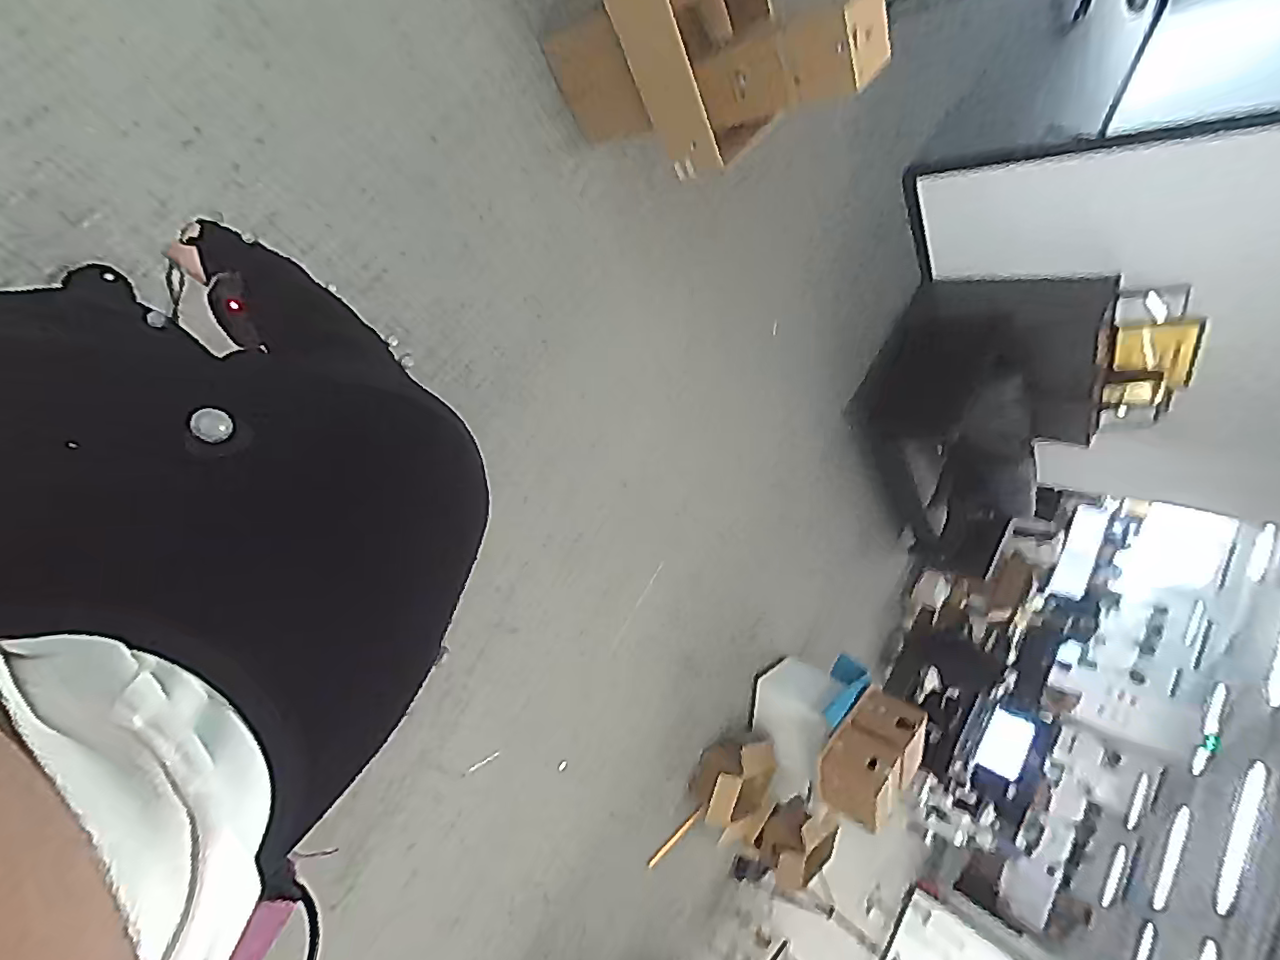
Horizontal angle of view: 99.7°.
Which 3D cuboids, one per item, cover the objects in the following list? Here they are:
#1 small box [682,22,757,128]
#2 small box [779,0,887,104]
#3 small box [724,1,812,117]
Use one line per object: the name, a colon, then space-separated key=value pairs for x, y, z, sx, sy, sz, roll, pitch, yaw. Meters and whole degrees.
small box: x=0.236 y=-1.119 z=1.506 sx=0.179 sy=0.176 sz=0.168 roll=-51 pitch=133 yaw=-20
small box: x=0.458 y=-1.035 z=1.282 sx=0.179 sy=0.176 sz=0.168 roll=-51 pitch=132 yaw=-20
small box: x=0.345 y=-1.076 z=1.393 sx=0.179 sy=0.176 sz=0.168 roll=-50 pitch=132 yaw=-19
